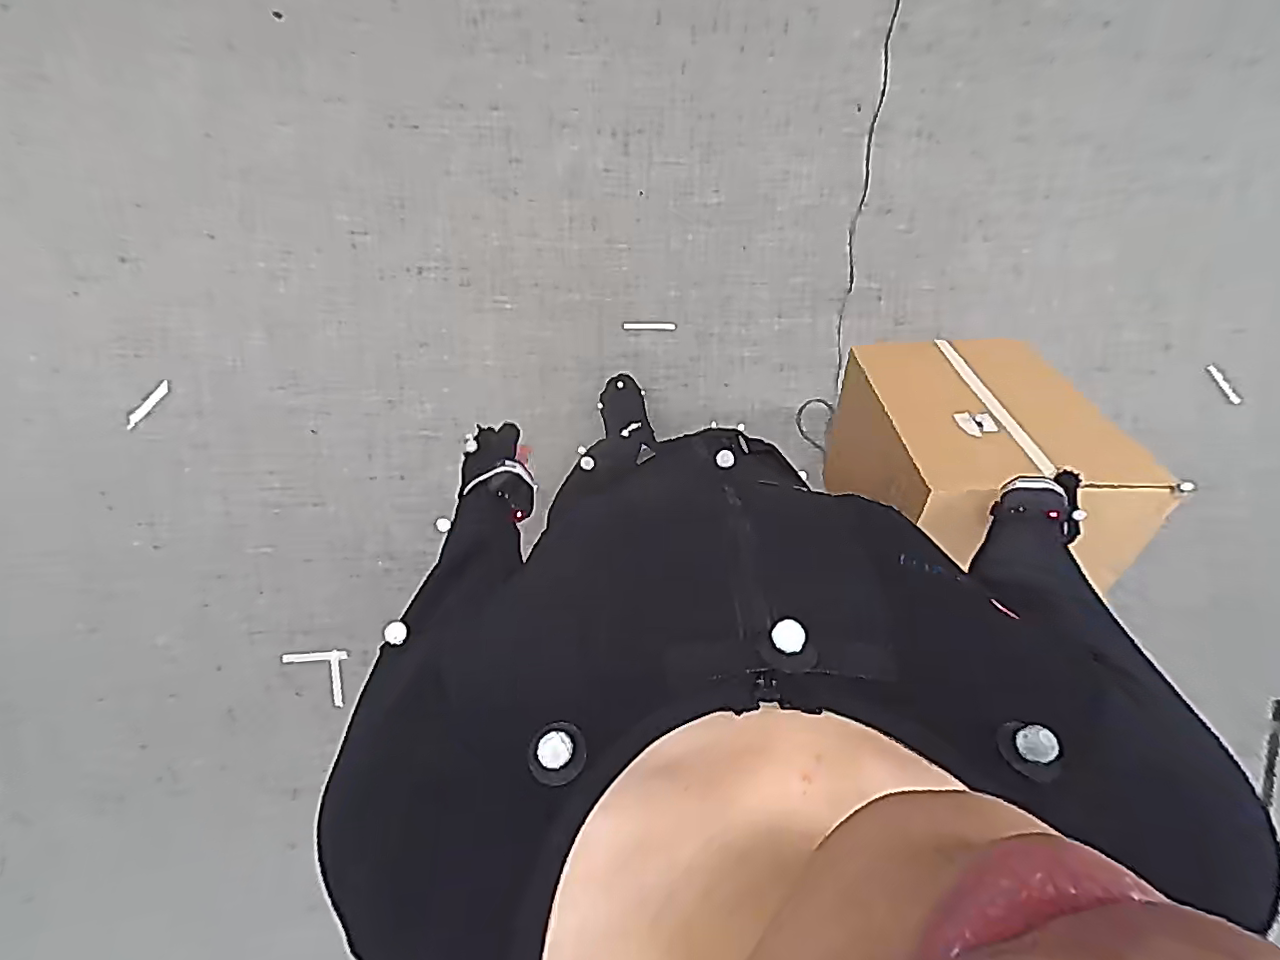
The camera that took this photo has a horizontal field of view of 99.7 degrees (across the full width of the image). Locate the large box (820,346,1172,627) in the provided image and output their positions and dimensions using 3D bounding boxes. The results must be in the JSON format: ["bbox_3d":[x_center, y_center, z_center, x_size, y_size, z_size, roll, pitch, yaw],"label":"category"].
[{"bbox_3d":[0.538,0.000,0.942,0.320,0.408,0.320,-1,132,3],"label":"large box"}]
